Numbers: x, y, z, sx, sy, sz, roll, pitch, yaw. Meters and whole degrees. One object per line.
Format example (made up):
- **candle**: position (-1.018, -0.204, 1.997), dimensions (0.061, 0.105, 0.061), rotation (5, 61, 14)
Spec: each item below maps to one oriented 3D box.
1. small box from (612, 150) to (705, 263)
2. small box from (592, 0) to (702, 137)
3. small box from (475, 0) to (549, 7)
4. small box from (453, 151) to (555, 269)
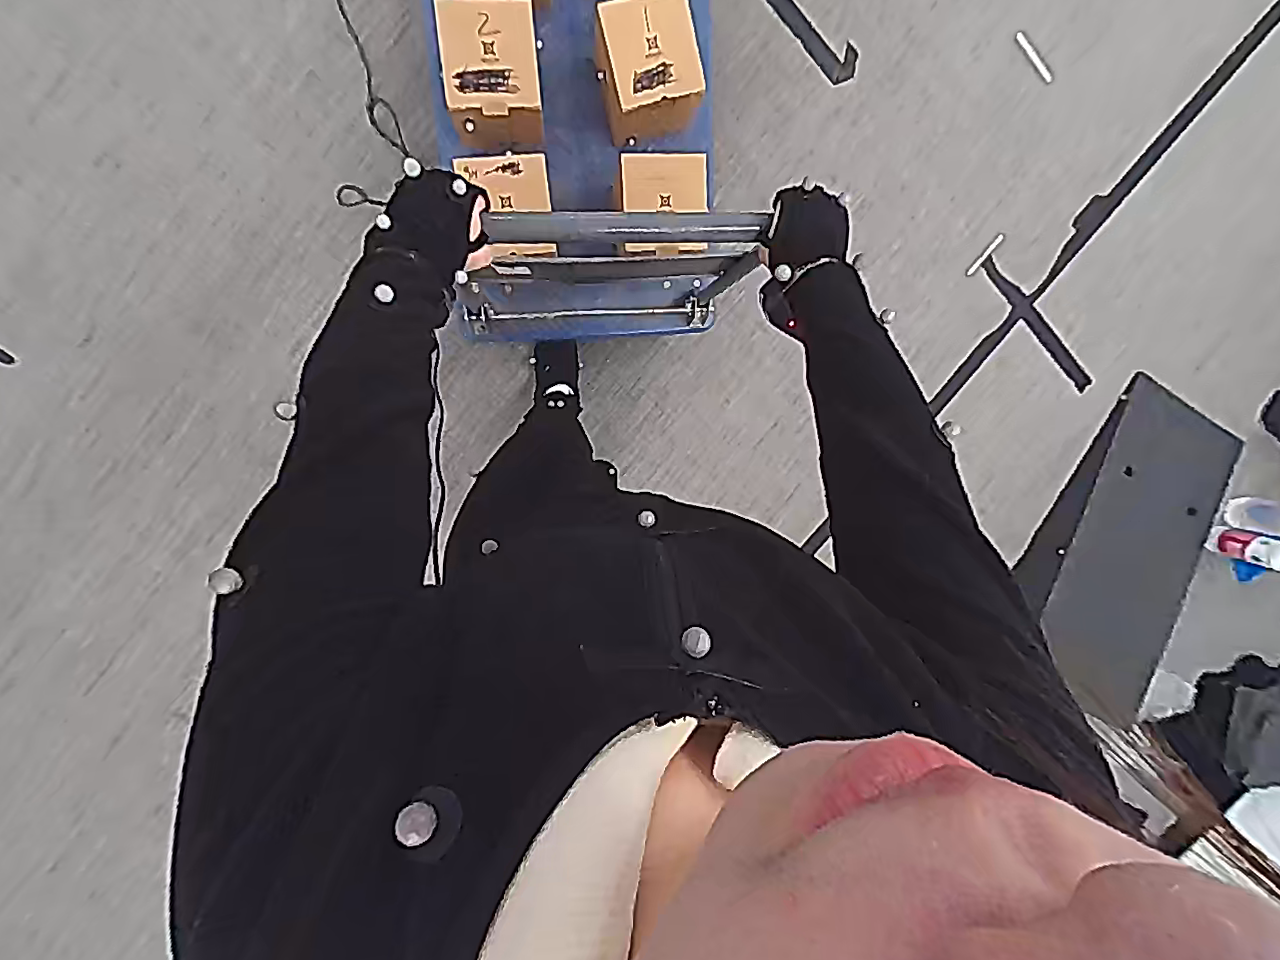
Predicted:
- **small box**: position (0.034, -0.550, 1.111), dimensions (0.168, 0.176, 0.179), rotation (-4, 101, -8)
- **small box**: position (0.008, -0.801, 1.054), dimensions (0.168, 0.176, 0.179), rotation (-16, 103, -5)
- **small box**: position (-0.249, -1.011, 0.972), dimensions (0.168, 0.176, 0.179), rotation (-3, 102, -8)
- **small box**: position (-0.260, -0.522, 1.070), dimensions (0.168, 0.176, 0.179), rotation (-8, 103, -8)
